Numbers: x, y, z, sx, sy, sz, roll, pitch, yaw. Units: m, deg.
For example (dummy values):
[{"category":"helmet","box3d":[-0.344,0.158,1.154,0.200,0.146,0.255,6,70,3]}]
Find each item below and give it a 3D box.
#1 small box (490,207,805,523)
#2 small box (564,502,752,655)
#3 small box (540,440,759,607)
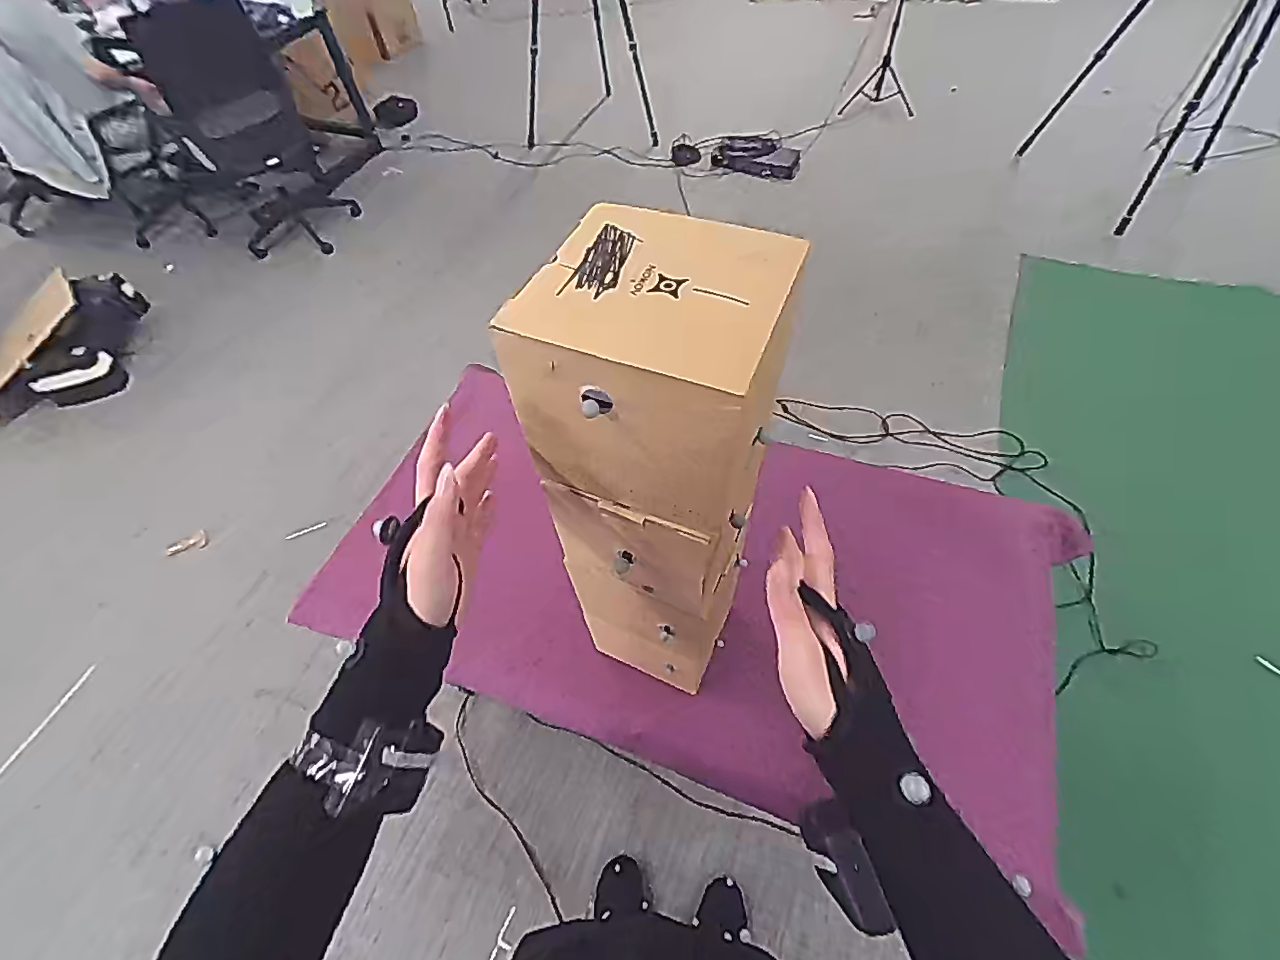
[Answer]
[{"category":"small box","box3d":[0.014,-0.088,0.440,0.179,0.176,0.168,18,58,15]},{"category":"small box","box3d":[0.029,0.107,0.703,0.179,0.176,0.168,20,59,17]},{"category":"small box","box3d":[0.022,0.009,0.573,0.168,0.176,0.179,20,59,16]}]
